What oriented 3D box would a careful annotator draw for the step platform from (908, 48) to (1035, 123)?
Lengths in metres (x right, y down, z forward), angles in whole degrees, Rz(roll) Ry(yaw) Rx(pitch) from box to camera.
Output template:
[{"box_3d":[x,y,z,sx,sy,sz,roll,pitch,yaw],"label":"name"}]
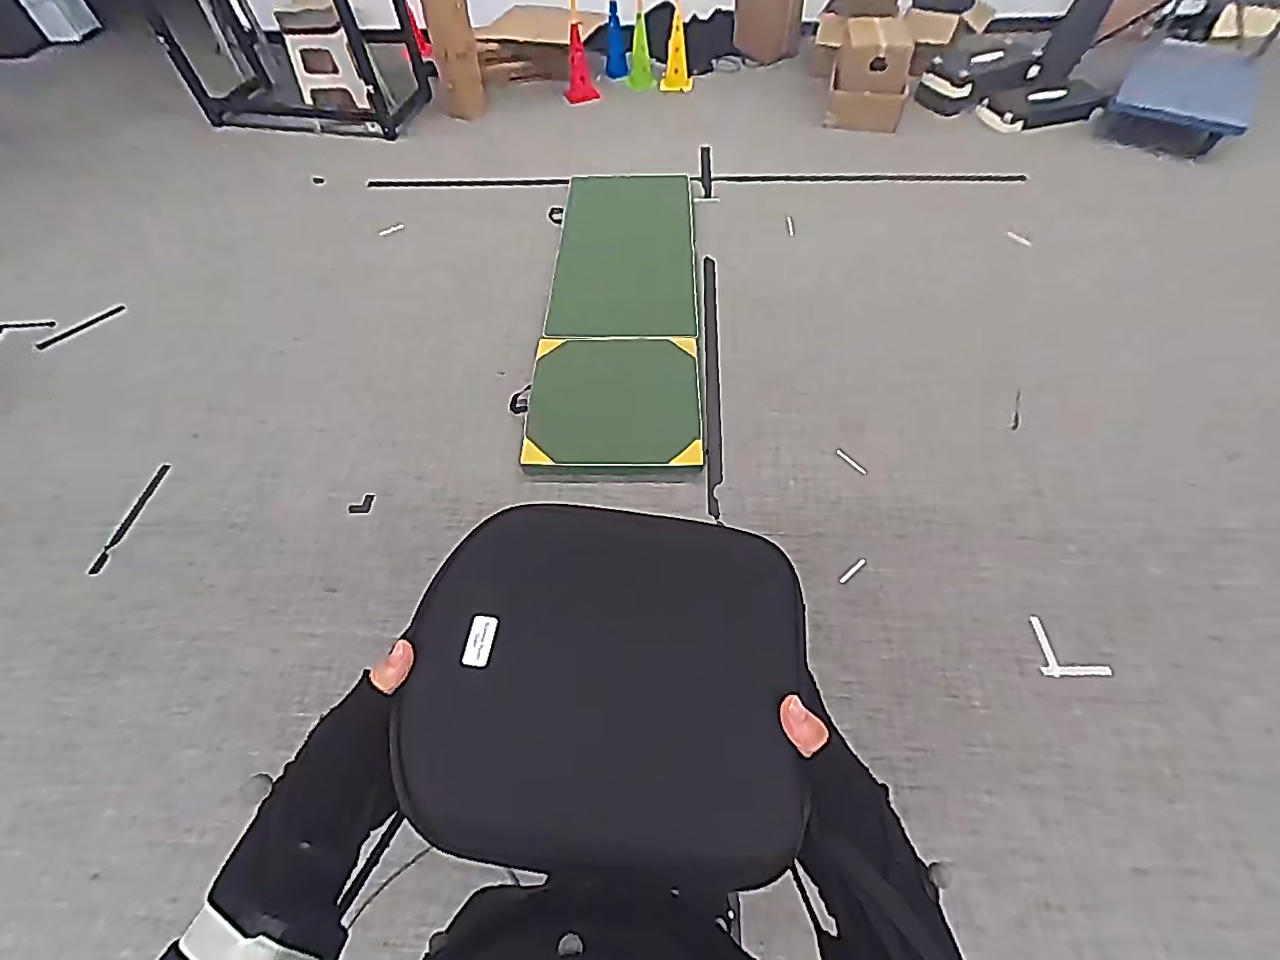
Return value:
[{"box_3d":[1.943,-2.316,3.166,0.684,0.204,0.286,-24,59,-14],"label":"step platform"}]
